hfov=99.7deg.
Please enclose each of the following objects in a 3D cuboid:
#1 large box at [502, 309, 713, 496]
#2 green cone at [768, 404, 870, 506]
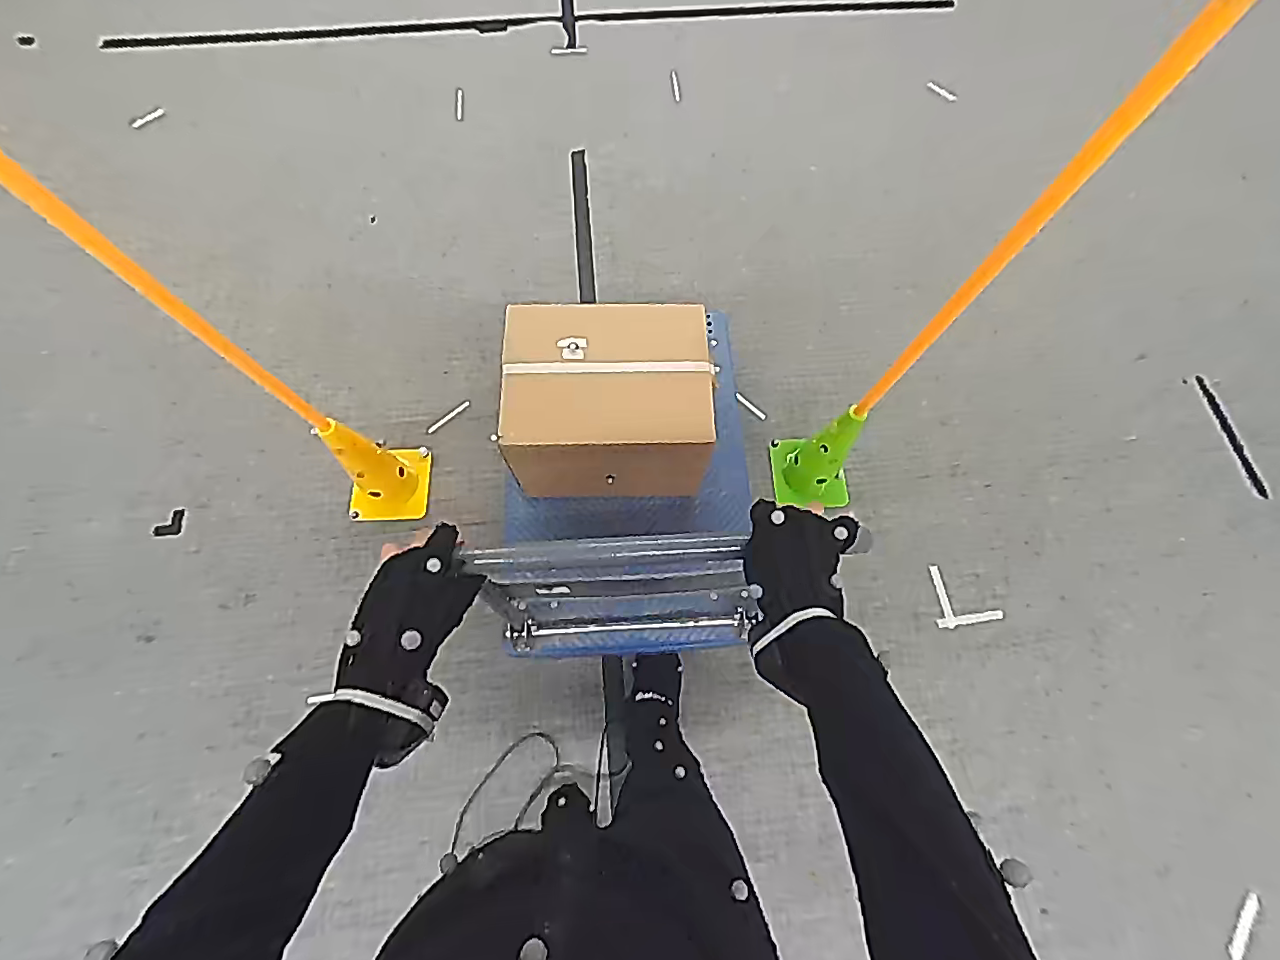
[{"bbox_3d":[-0.066,-0.155,1.204,0.408,0.320,0.320,-1,70,-1],"label":"large box"},{"bbox_3d":[0.470,-0.082,1.343,0.202,0.368,0.200,-1,70,-3],"label":"green cone"}]
